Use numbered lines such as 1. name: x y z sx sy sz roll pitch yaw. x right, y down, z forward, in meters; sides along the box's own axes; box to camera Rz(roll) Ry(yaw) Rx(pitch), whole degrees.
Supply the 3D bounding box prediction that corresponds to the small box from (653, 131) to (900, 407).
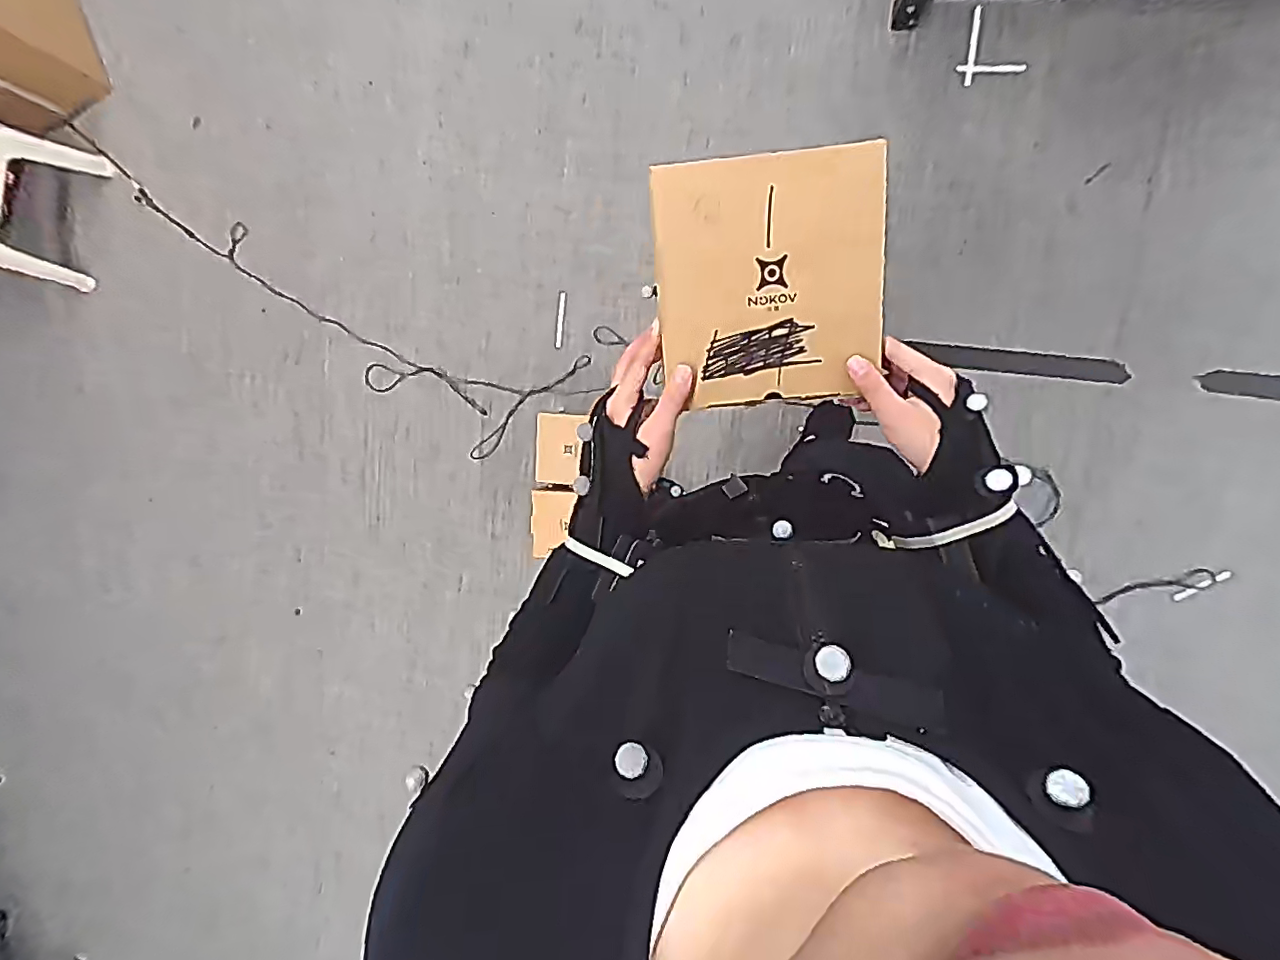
1. small box: 0.100 -0.166 0.462 0.168 0.176 0.179 -5 105 2
